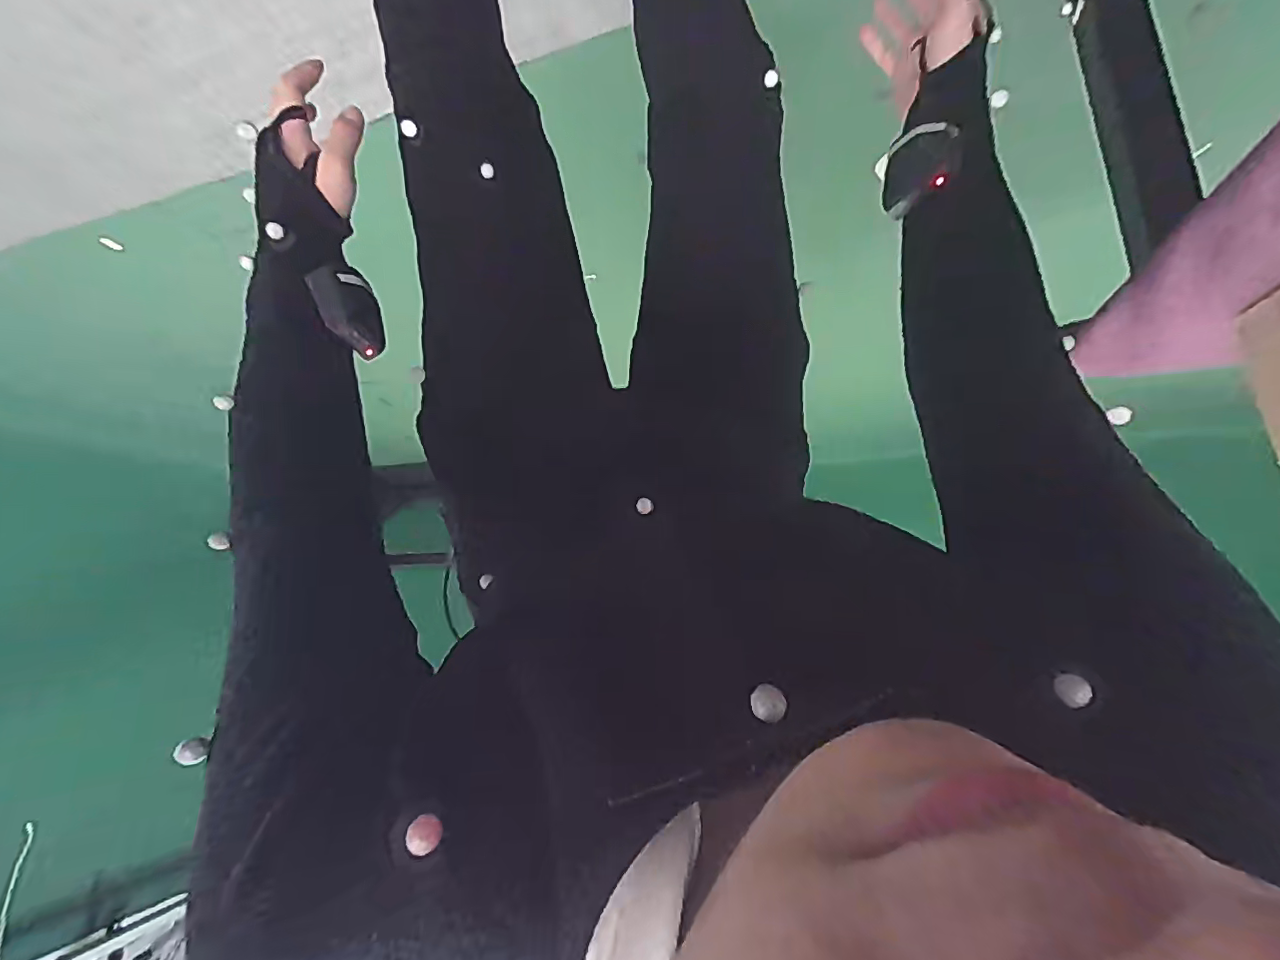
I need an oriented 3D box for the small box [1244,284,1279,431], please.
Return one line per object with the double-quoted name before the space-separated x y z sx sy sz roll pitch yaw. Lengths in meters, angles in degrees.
"small box" 0.576 -0.094 0.347 0.179 0.176 0.168 -7 164 16
